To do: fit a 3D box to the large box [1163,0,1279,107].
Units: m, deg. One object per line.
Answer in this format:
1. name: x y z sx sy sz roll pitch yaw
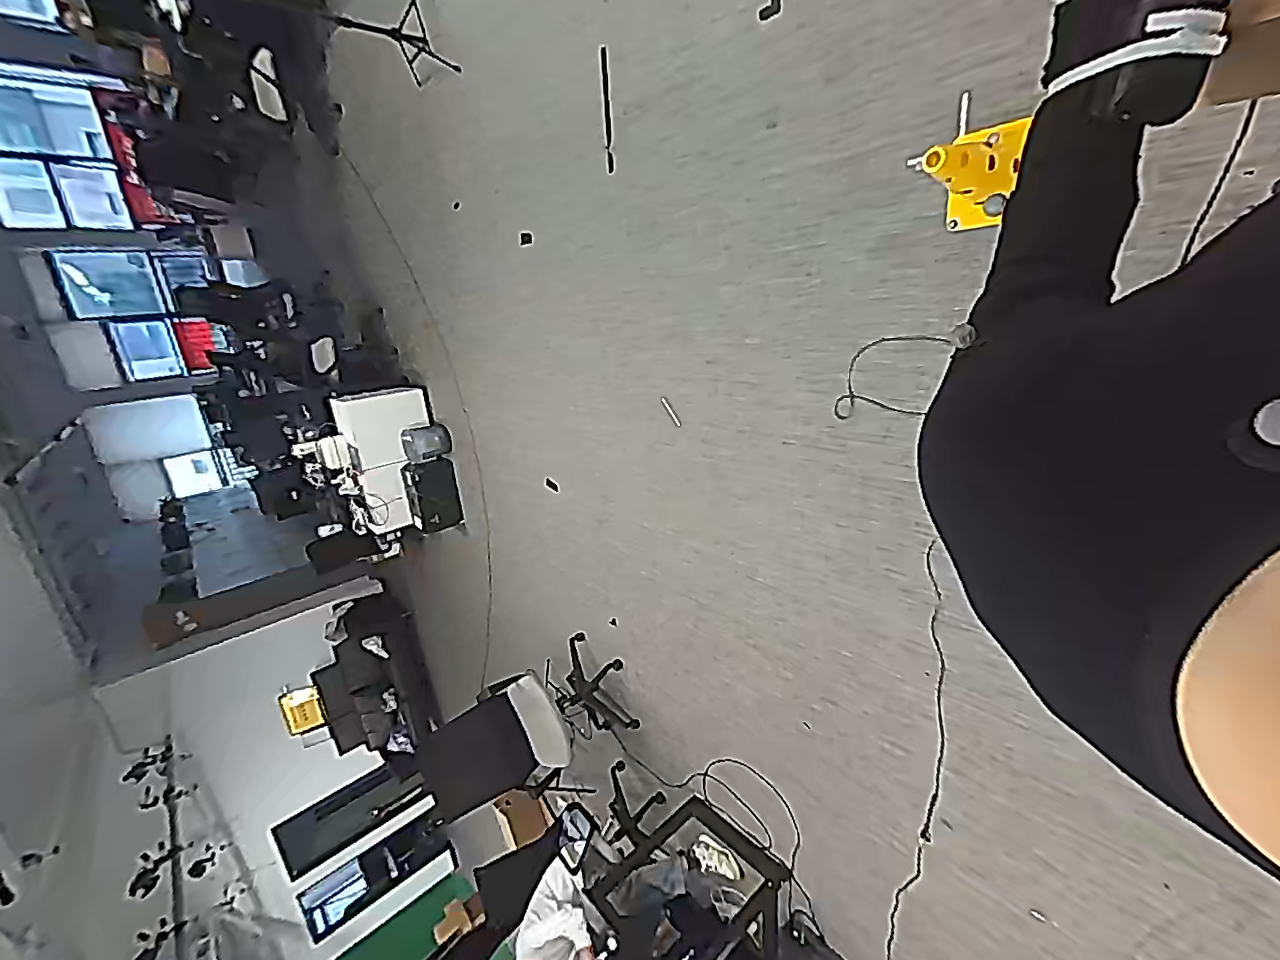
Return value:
1. large box: 0.577 -0.437 0.265 0.408 0.320 0.320 17 120 45
